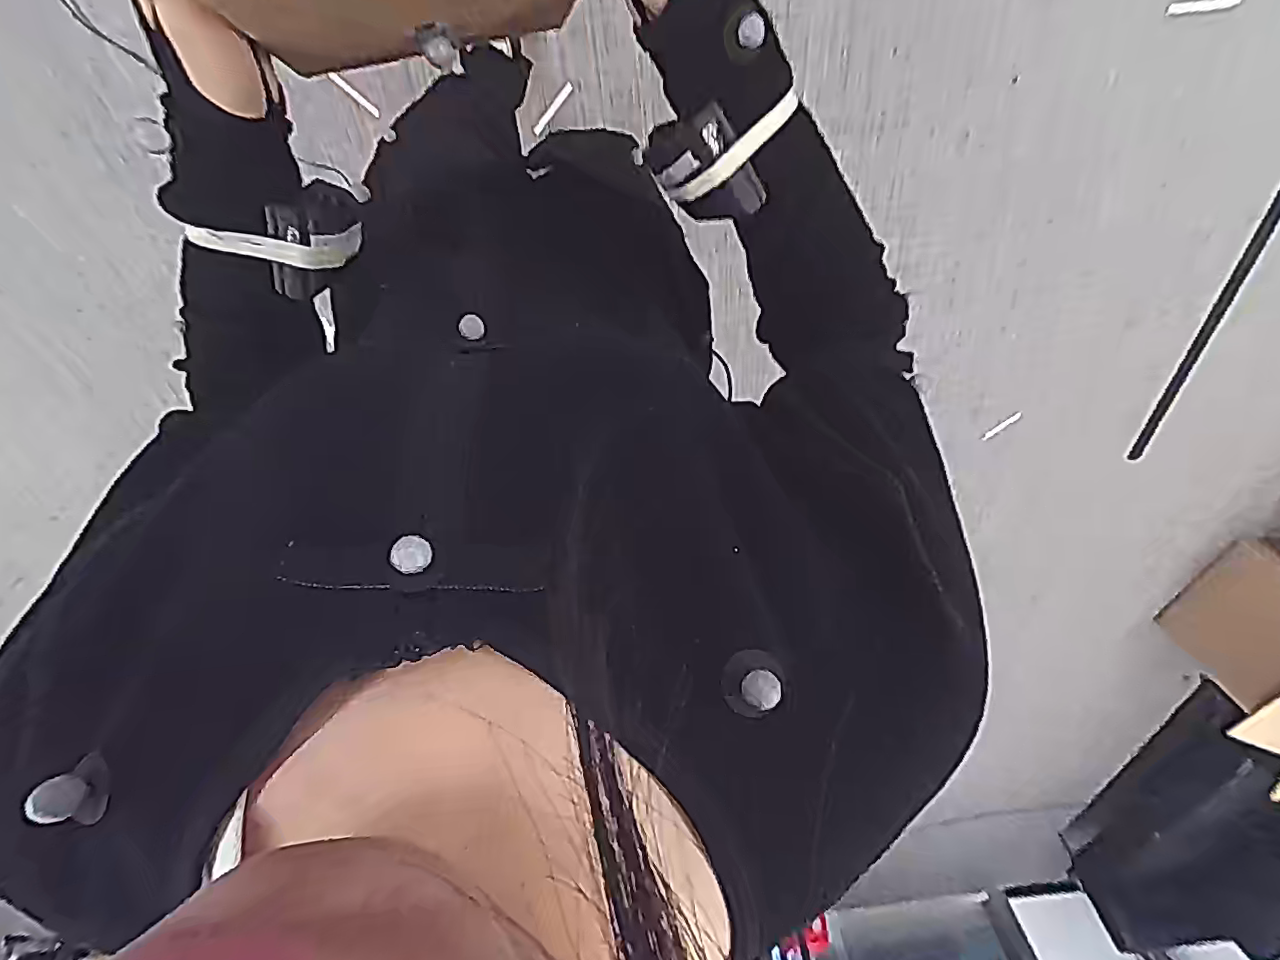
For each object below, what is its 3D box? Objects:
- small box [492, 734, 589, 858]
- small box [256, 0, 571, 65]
[{"bbox_3d":[-0.197,0.640,1.110,0.168,0.176,0.179,-5,127,-1],"label":"small box"},{"bbox_3d":[-0.119,-0.309,0.224,0.168,0.176,0.179,-17,119,-8],"label":"small box"}]
